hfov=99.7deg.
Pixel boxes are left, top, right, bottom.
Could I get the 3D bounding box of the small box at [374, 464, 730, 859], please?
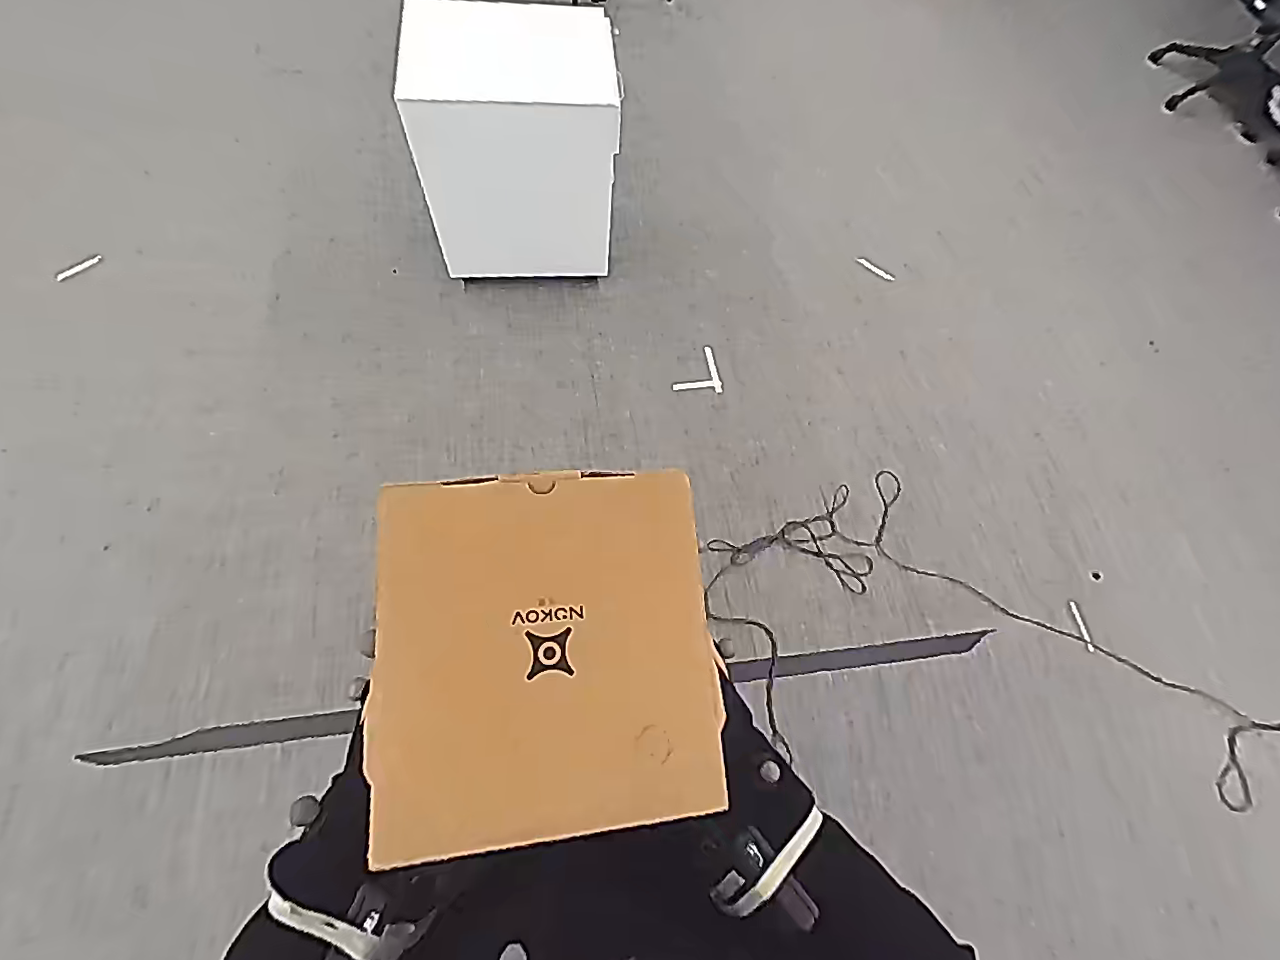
[{"bbox_3d":[-0.054,0.099,0.344,0.168,0.176,0.179,-3,74,-11],"label":"small box"}]
